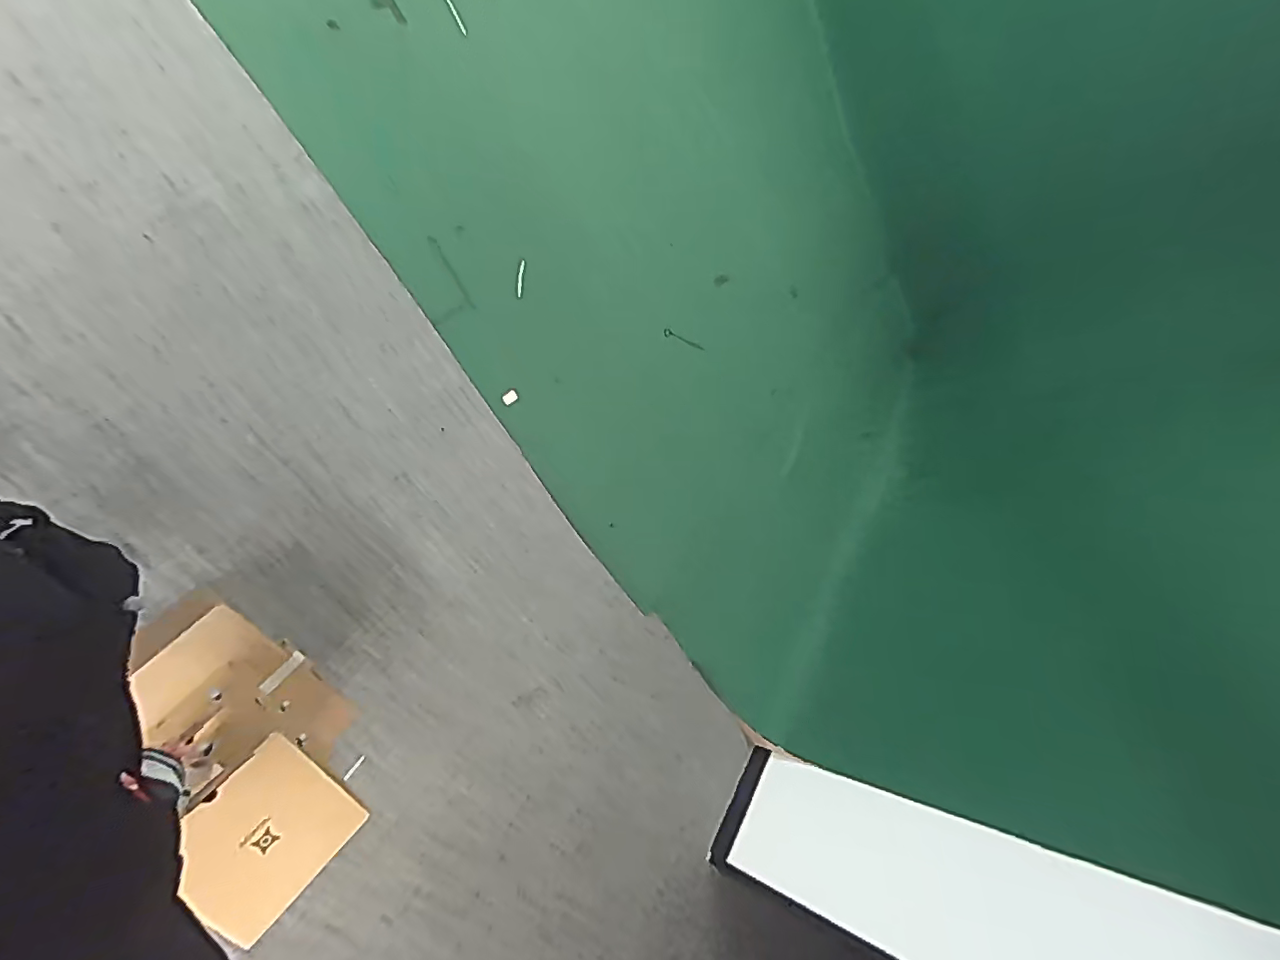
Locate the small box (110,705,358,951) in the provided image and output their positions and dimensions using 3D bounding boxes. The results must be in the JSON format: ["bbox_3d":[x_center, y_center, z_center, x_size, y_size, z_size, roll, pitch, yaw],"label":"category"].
[{"bbox_3d":[-0.498,0.413,0.672,0.168,0.176,0.179,-46,118,-36],"label":"small box"}]

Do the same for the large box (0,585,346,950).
[{"bbox_3d":[-0.815,0.443,0.930,0.408,0.320,0.320,-51,120,-32],"label":"large box"}]
